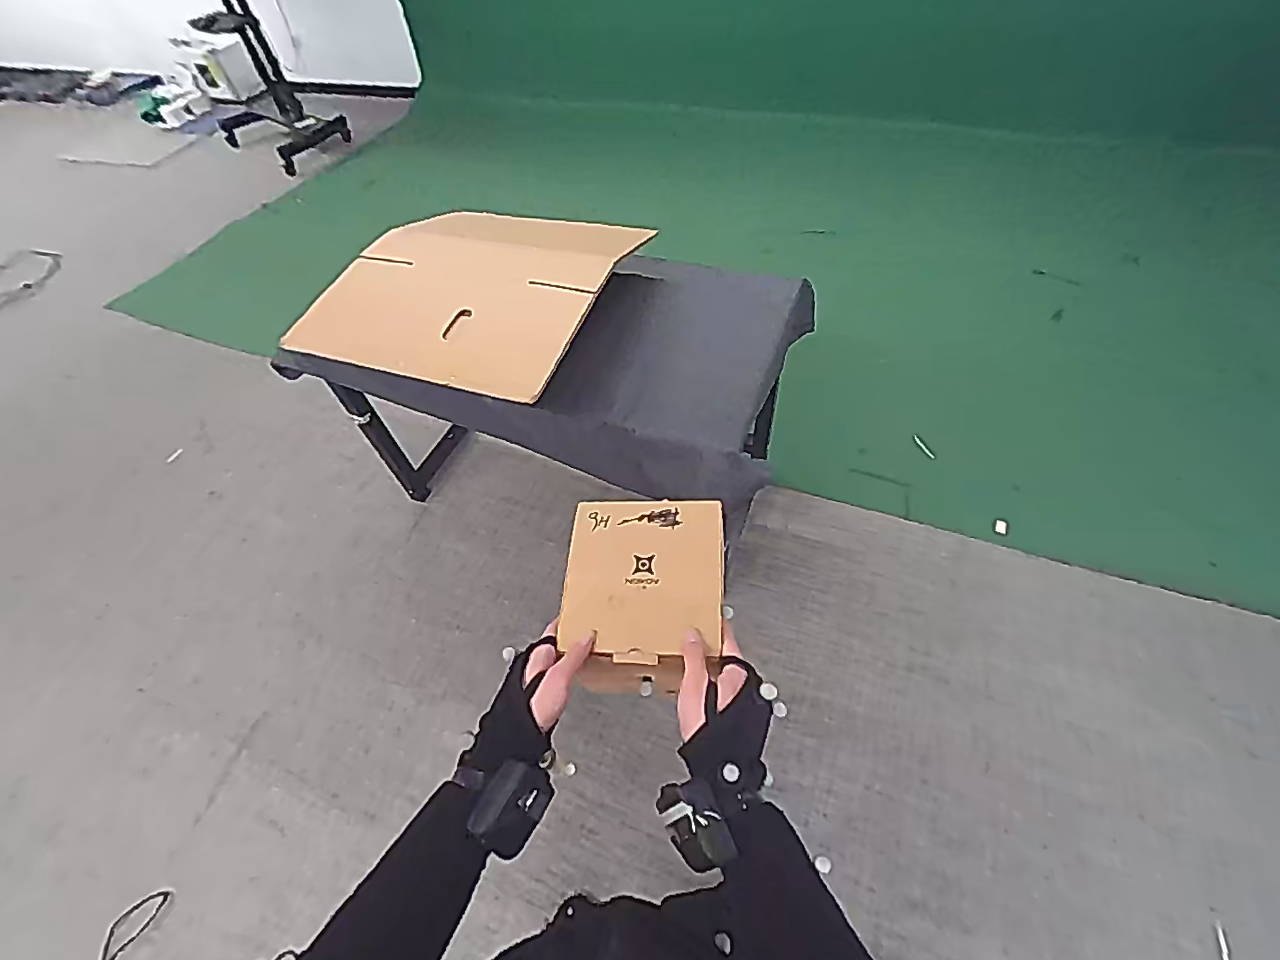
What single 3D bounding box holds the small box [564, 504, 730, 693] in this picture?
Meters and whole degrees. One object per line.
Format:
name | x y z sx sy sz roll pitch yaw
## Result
small box | 0.019 0.147 0.639 0.168 0.176 0.179 -3 56 8
